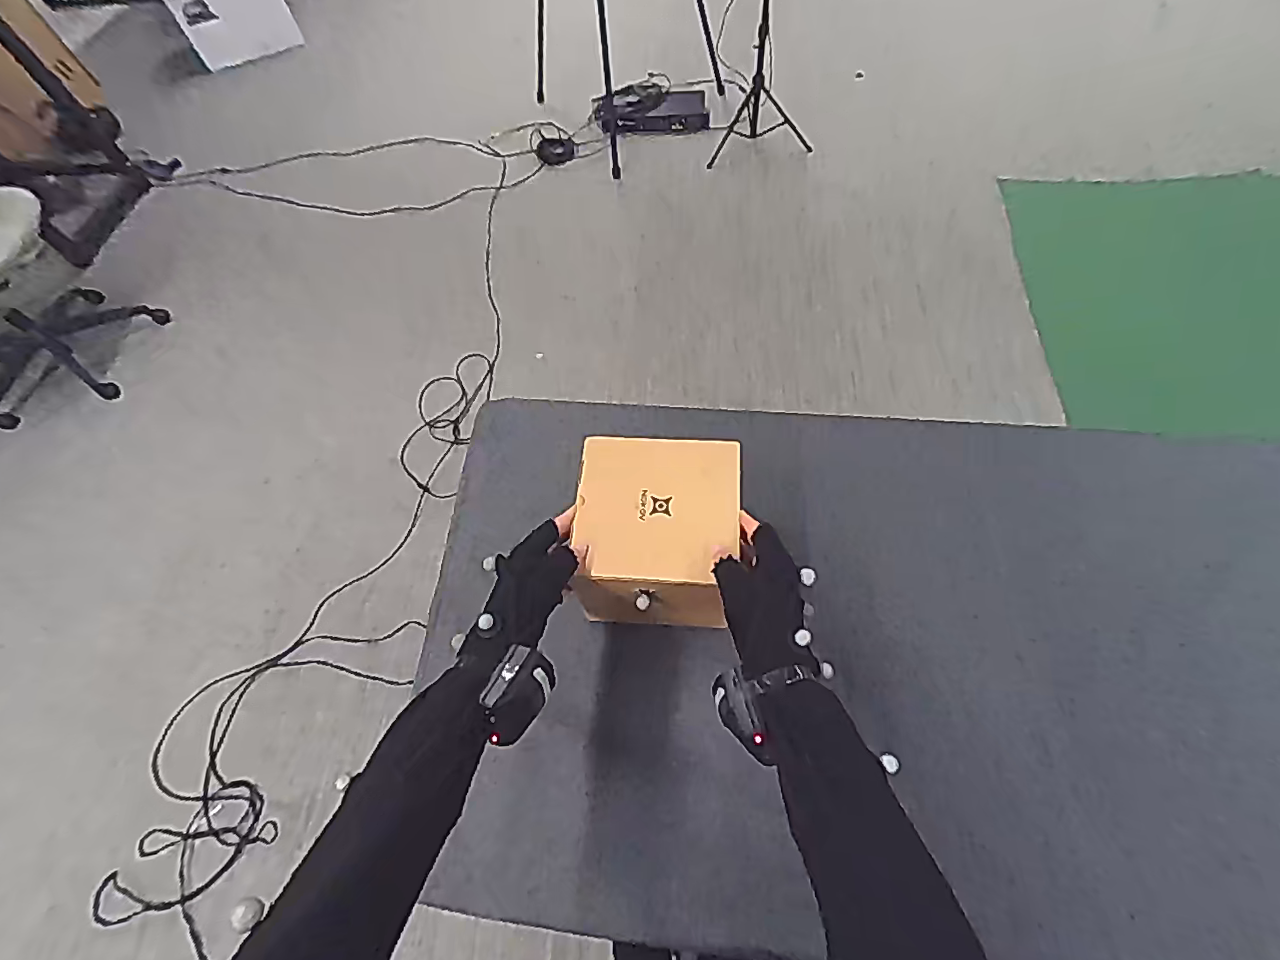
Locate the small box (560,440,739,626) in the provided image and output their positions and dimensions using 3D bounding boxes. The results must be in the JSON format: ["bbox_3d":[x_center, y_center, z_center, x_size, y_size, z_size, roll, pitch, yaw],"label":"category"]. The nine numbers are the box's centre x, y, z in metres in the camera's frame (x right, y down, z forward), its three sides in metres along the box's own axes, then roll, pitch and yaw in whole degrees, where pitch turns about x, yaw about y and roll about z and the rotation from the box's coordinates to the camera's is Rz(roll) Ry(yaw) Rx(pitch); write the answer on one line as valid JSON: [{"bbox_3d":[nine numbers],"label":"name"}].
[{"bbox_3d":[0.020,0.068,0.631,0.179,0.176,0.168,1,61,7],"label":"small box"}]
